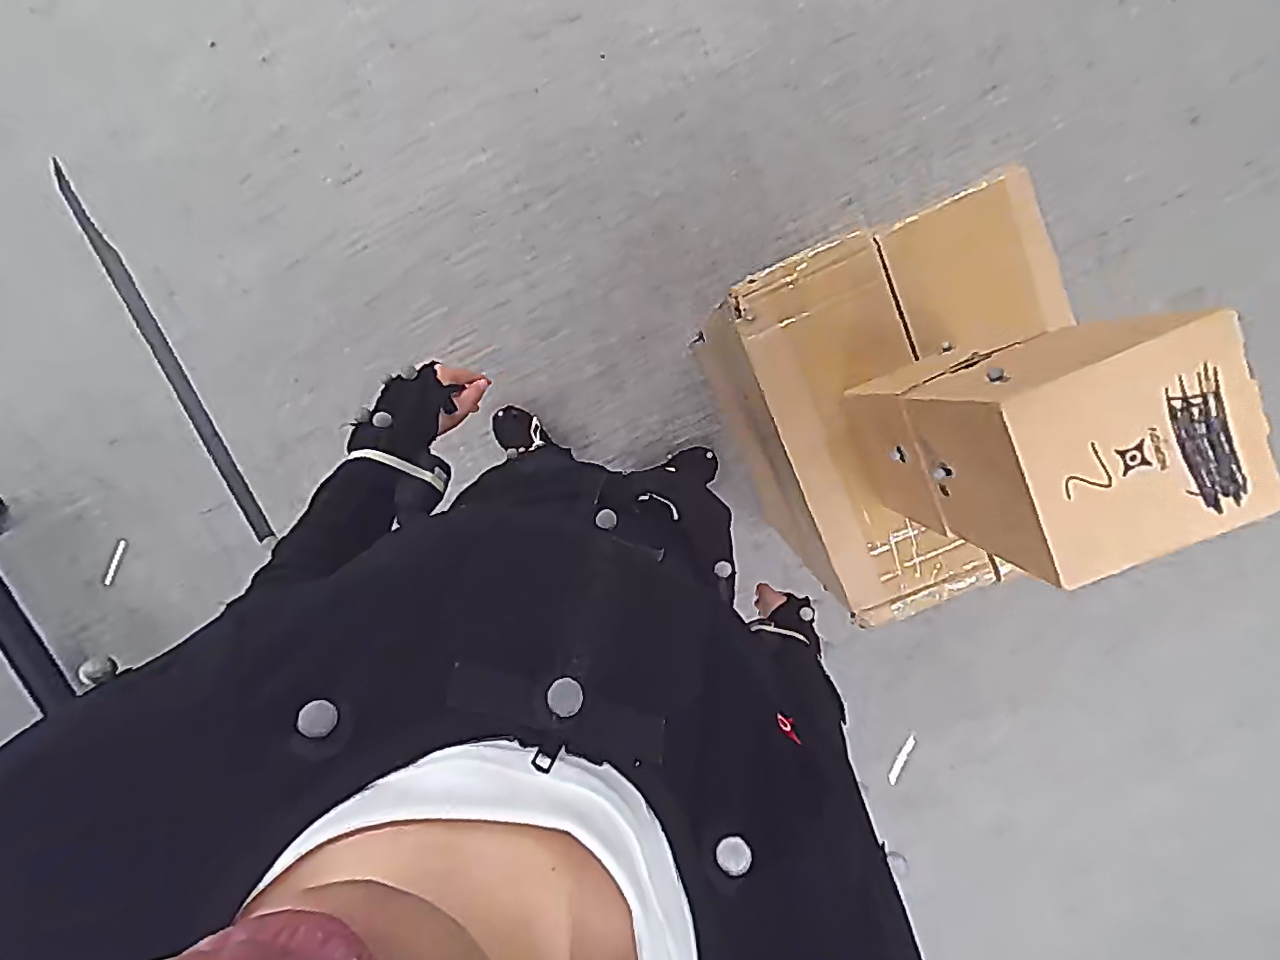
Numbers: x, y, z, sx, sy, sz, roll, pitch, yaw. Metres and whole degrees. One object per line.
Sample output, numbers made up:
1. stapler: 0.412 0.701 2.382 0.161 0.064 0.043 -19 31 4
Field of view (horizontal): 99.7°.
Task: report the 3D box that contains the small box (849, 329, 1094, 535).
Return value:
1. small box: 0.377 -0.059 0.649 0.168 0.176 0.179 -23 98 5
